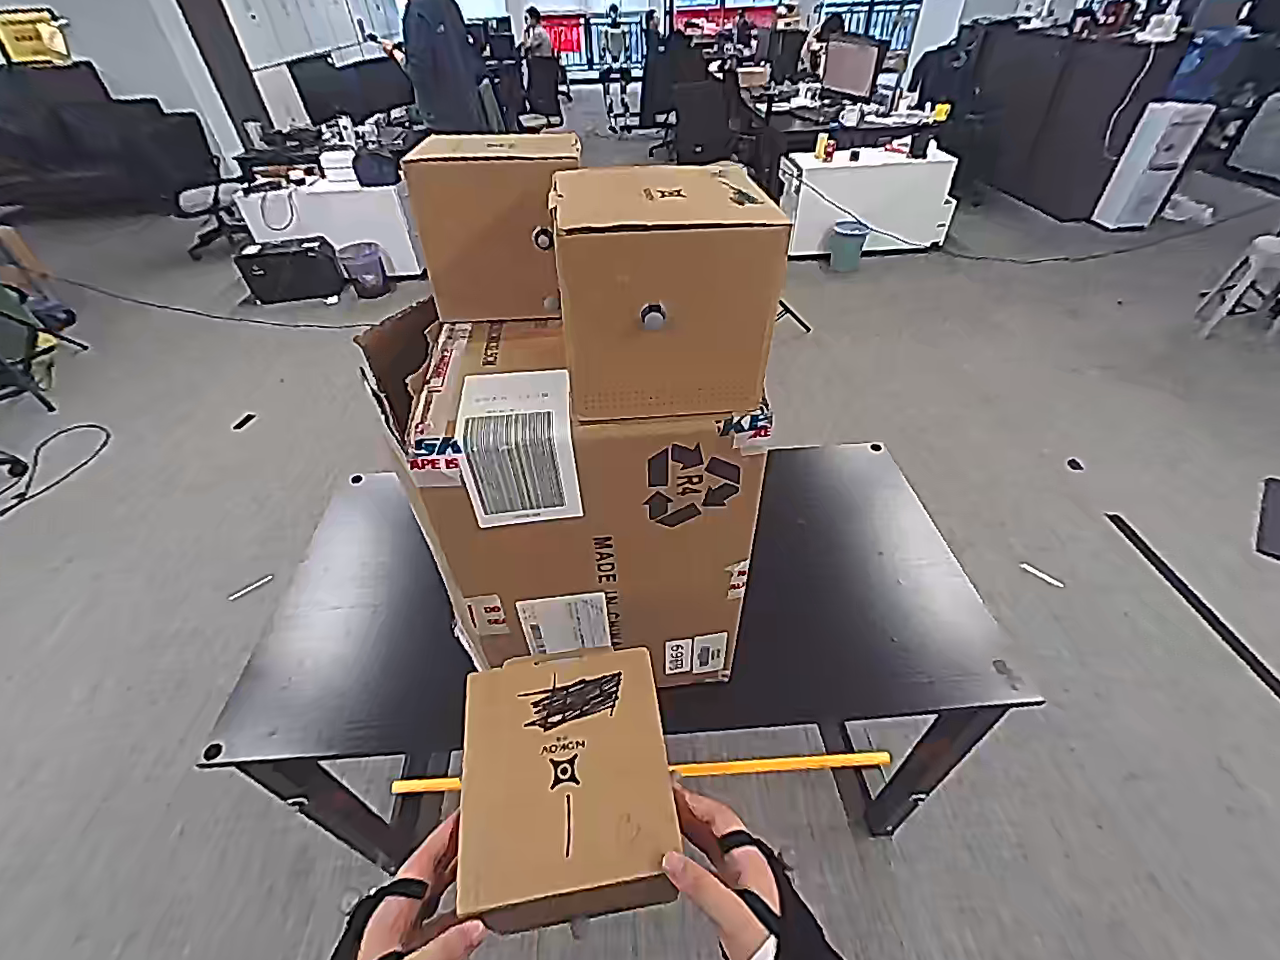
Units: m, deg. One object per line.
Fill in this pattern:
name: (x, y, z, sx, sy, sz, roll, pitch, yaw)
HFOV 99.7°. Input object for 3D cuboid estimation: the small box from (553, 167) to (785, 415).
small box: (0.017, -0.174, 0.506, 0.179, 0.176, 0.168, -5, 45, -4)

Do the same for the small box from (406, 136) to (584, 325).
small box: (-0.152, -0.299, 0.648, 0.179, 0.176, 0.168, -5, 39, -5)

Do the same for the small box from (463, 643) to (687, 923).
small box: (-0.058, 0.281, 0.505, 0.168, 0.176, 0.179, -7, 46, -6)
